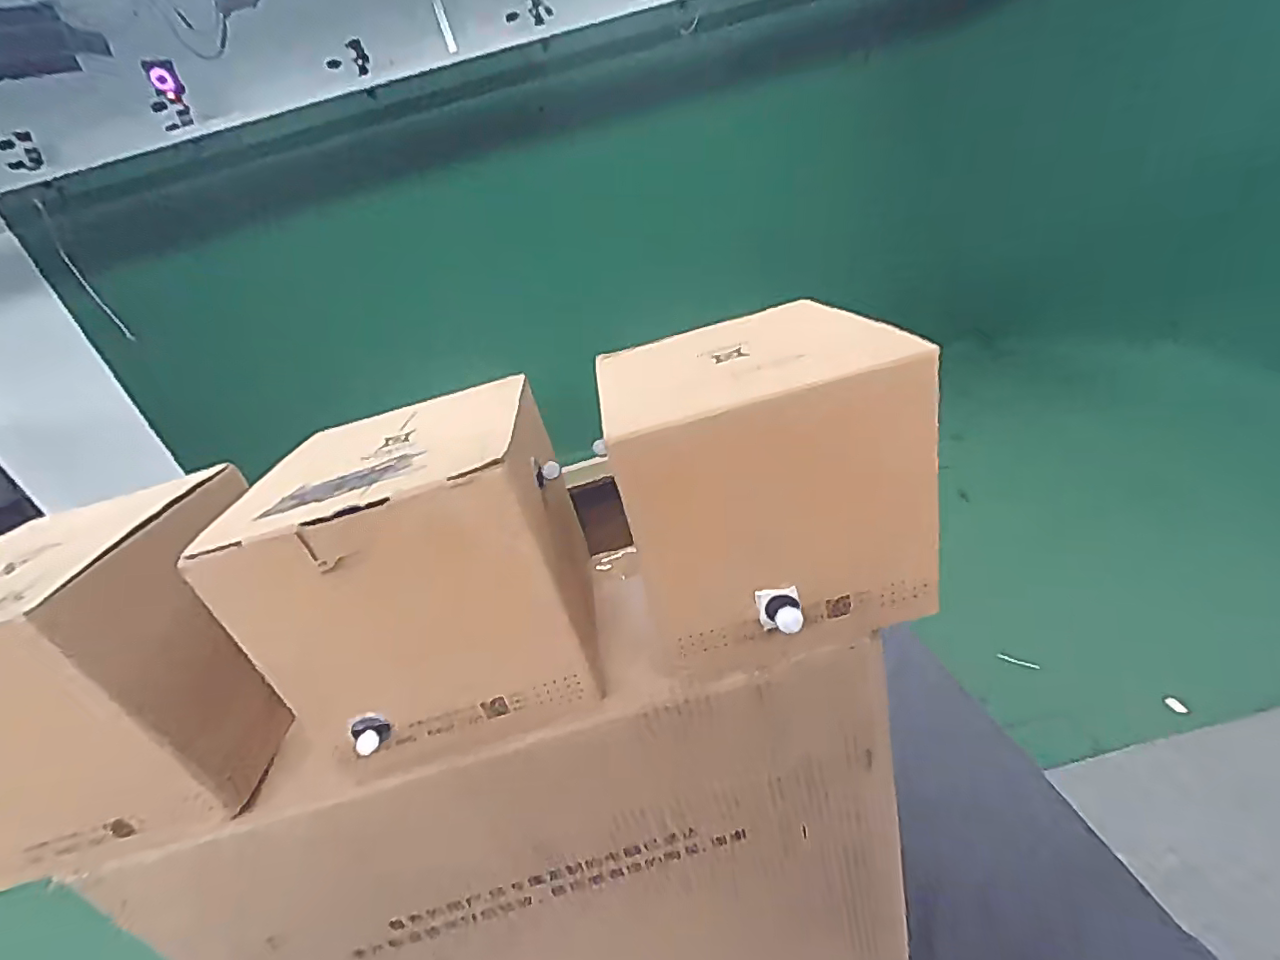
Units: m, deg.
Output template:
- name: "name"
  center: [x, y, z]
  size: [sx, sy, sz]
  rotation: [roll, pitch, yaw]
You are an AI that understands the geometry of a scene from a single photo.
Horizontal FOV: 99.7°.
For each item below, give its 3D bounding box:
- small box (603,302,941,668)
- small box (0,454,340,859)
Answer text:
- name: "small box"
  center: [0.076, -0.007, 0.372]
  size: [0.168, 0.176, 0.179]
  rotation: [-16, 28, 1]
- name: "small box"
  center: [-0.345, 0.109, 0.371]
  size: [0.168, 0.176, 0.179]
  rotation: [-17, 26, 3]
